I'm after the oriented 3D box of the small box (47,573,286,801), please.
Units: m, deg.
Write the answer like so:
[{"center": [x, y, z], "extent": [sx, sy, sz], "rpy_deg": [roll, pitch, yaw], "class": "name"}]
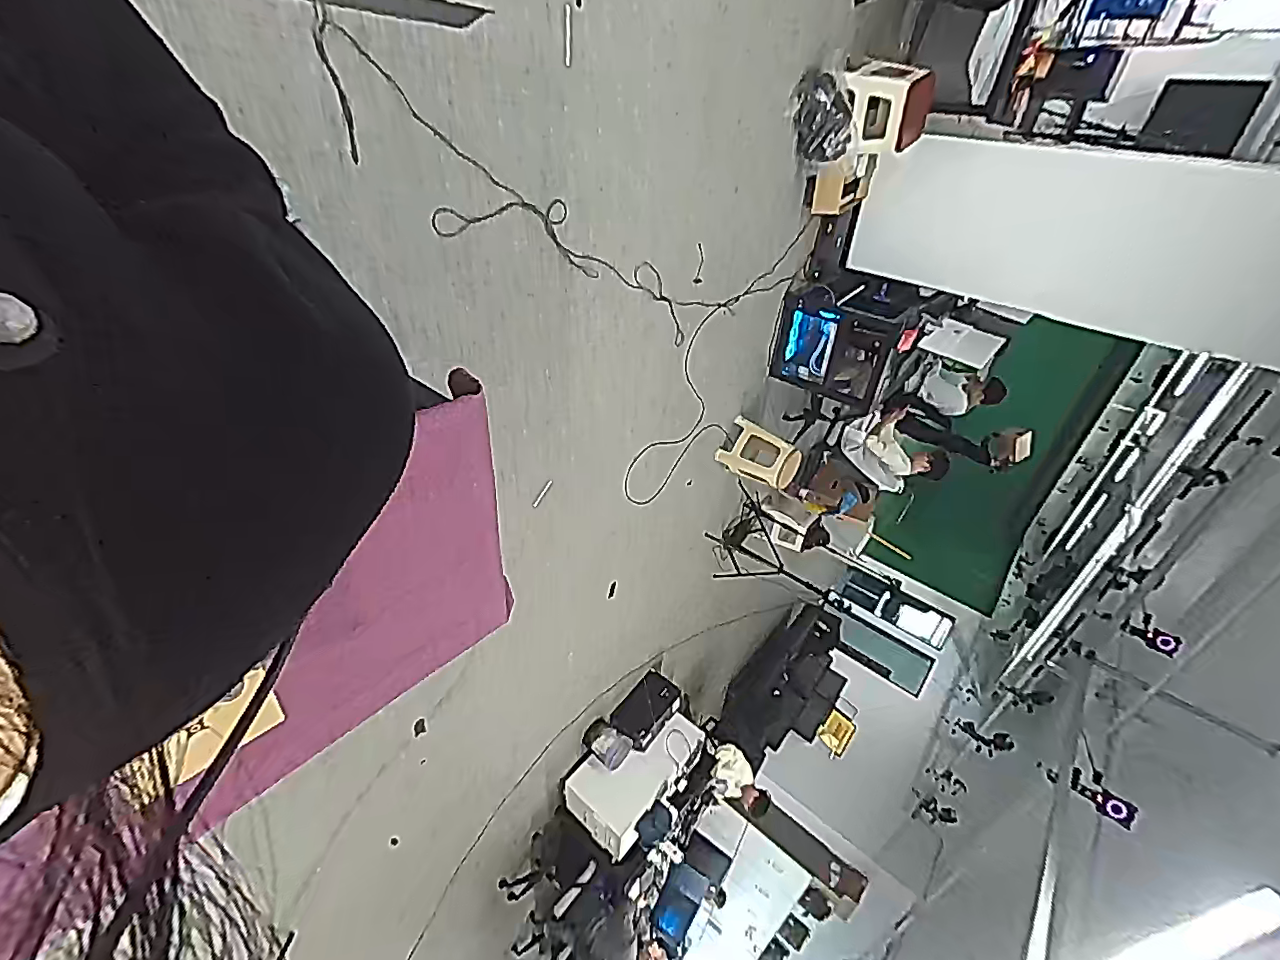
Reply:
[{"center": [-0.599, 0.254, 0.697], "extent": [0.168, 0.176, 0.179], "rpy_deg": [-31, 140, -43], "class": "small box"}]
